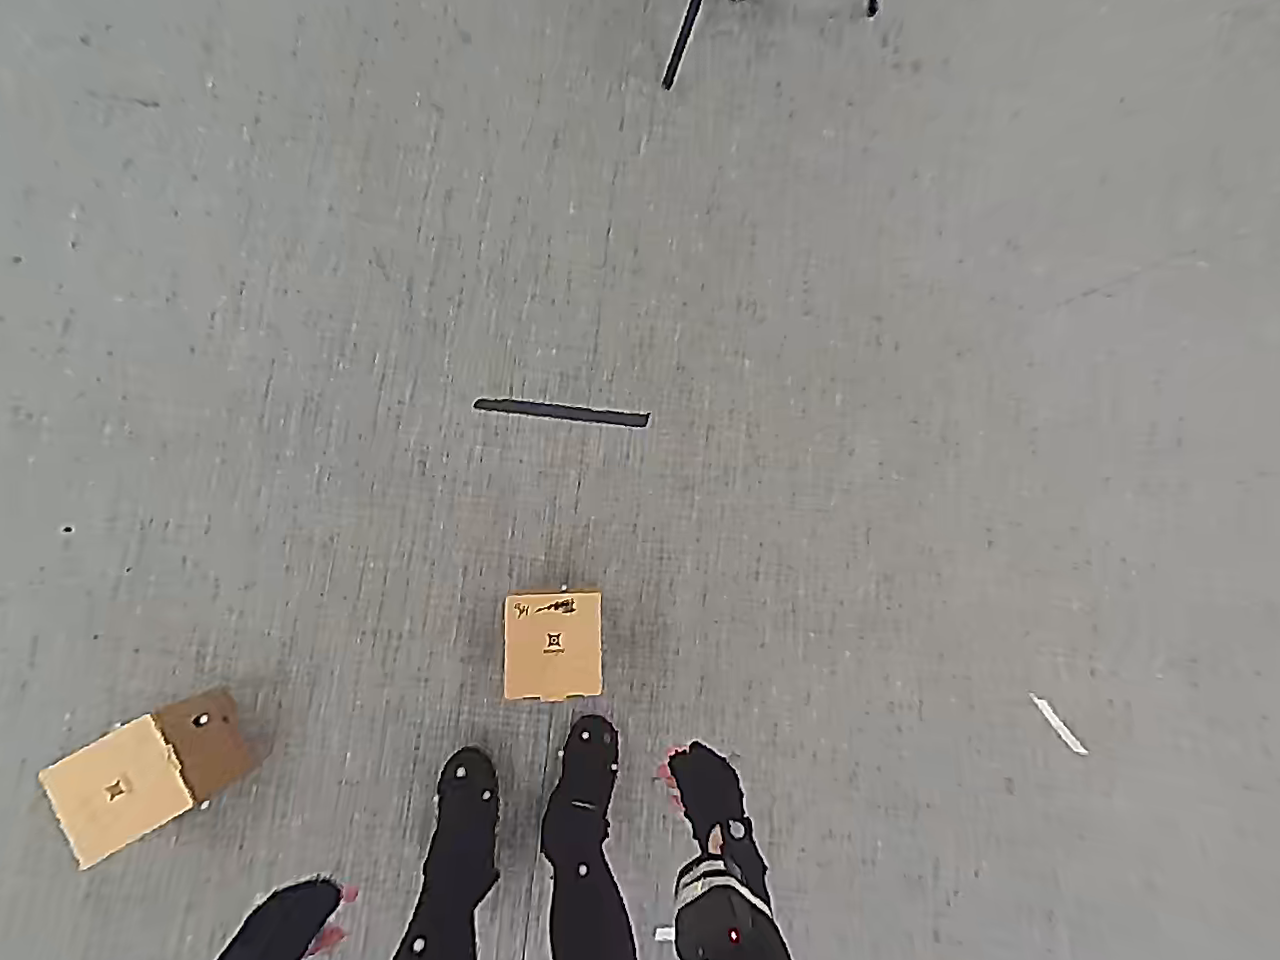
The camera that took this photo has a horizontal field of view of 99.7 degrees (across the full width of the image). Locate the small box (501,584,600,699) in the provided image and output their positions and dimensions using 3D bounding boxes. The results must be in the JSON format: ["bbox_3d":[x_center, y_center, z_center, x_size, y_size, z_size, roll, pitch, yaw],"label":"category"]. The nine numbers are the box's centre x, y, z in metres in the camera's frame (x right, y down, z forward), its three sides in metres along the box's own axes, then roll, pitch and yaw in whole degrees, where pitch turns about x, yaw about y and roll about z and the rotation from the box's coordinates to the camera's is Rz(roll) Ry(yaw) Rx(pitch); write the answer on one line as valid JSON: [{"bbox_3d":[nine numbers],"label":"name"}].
[{"bbox_3d":[-0.158,0.289,0.995,0.168,0.176,0.179,0,83,-6],"label":"small box"}]

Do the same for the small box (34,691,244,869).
[{"bbox_3d":[-0.810,0.482,0.902,0.179,0.176,0.168,-30,85,-8],"label":"small box"}]
